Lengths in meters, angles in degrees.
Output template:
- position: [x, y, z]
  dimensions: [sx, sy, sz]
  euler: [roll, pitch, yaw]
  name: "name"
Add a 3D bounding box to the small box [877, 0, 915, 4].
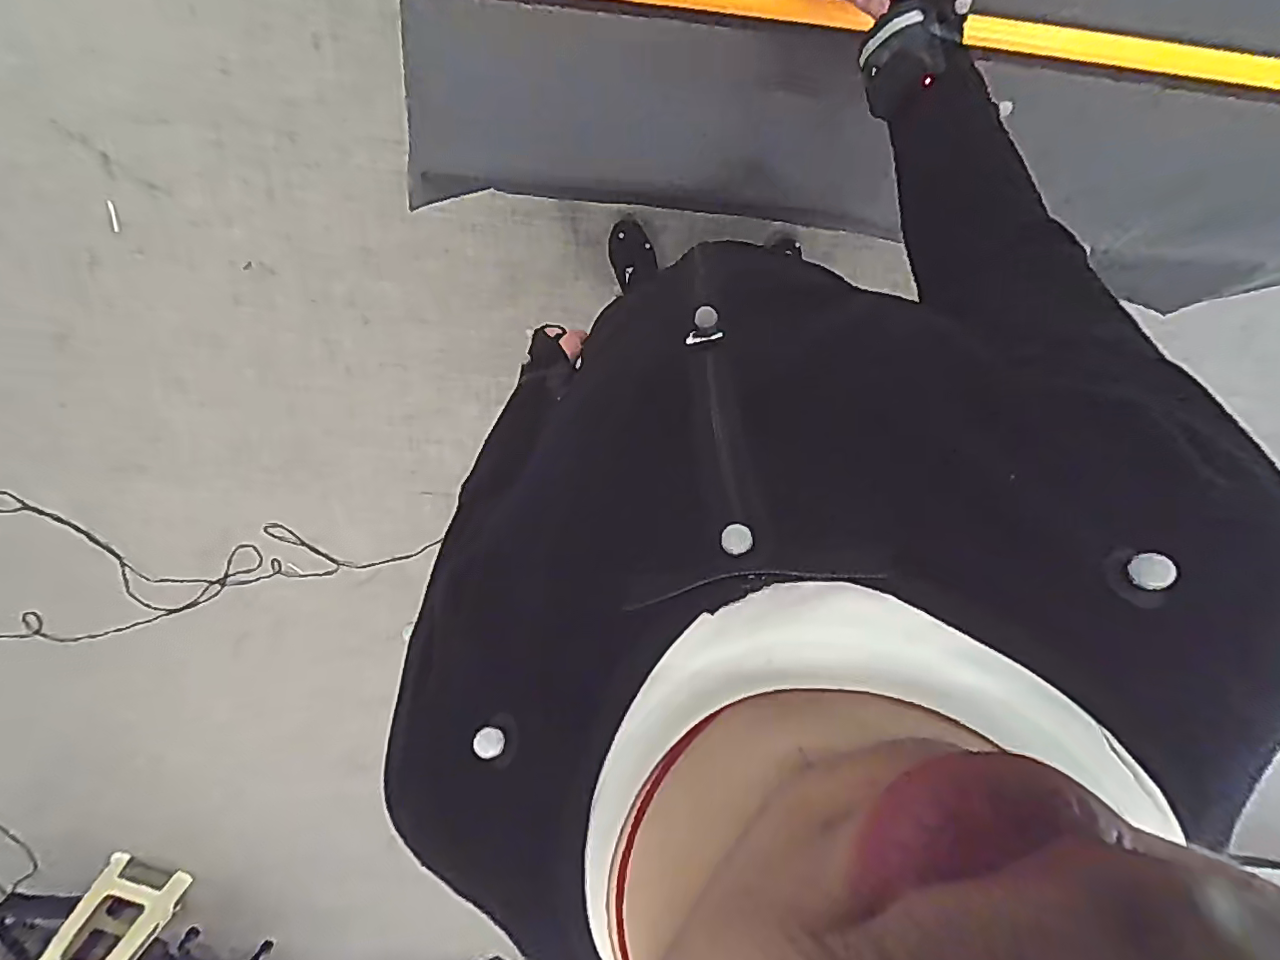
- position: [0.237, -0.593, 0.509]
  dimensions: [0.168, 0.176, 0.179]
  euler: [5, 112, 1]
  name: "small box"
